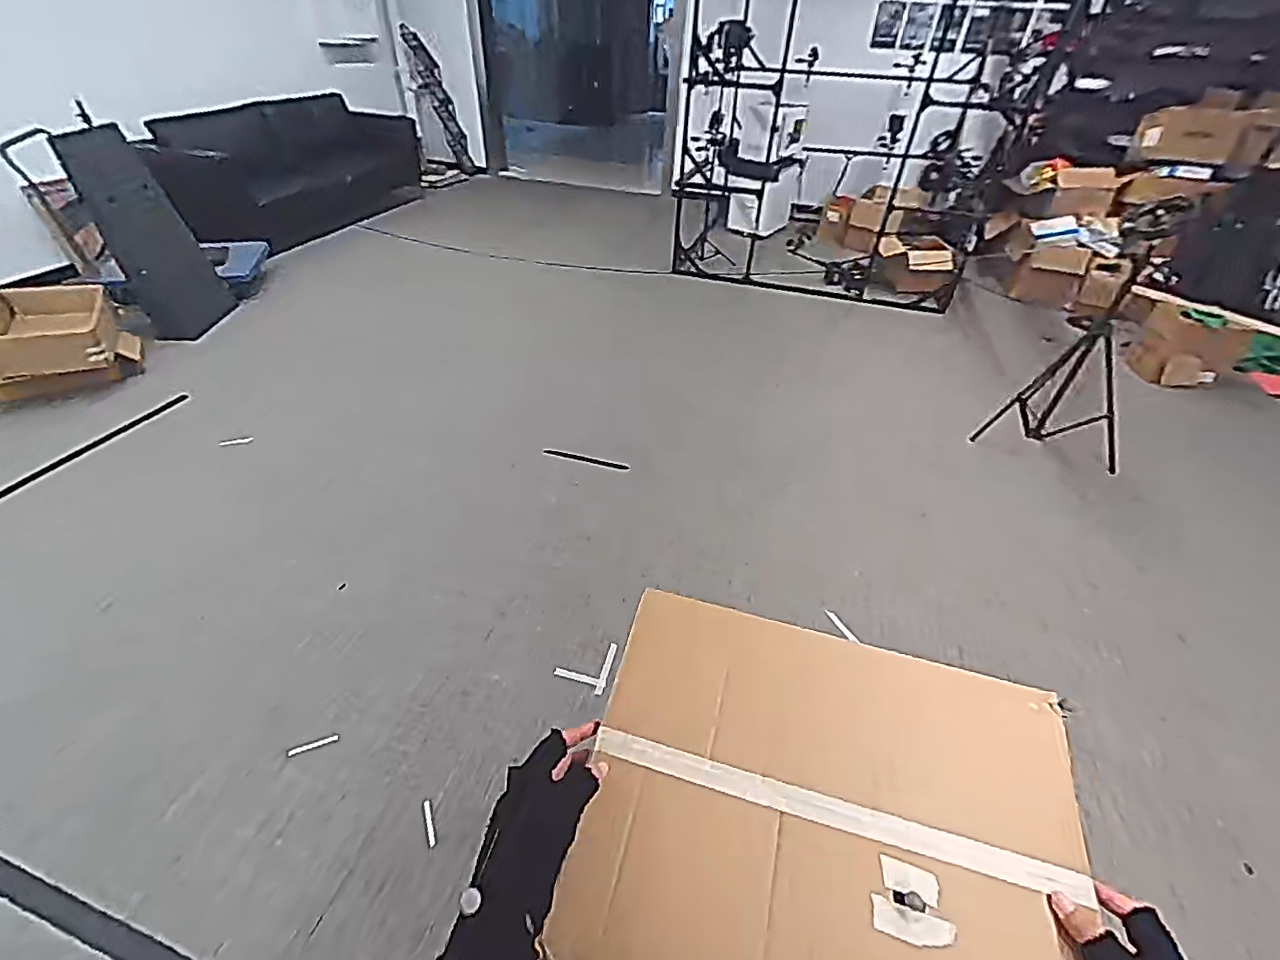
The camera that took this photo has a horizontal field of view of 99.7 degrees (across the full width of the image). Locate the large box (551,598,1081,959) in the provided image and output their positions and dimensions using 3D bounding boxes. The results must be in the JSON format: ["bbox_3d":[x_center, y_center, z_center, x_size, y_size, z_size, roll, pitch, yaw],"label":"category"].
[{"bbox_3d":[0.158,0.376,0.592,0.408,0.320,0.320,13,54,10],"label":"large box"}]
